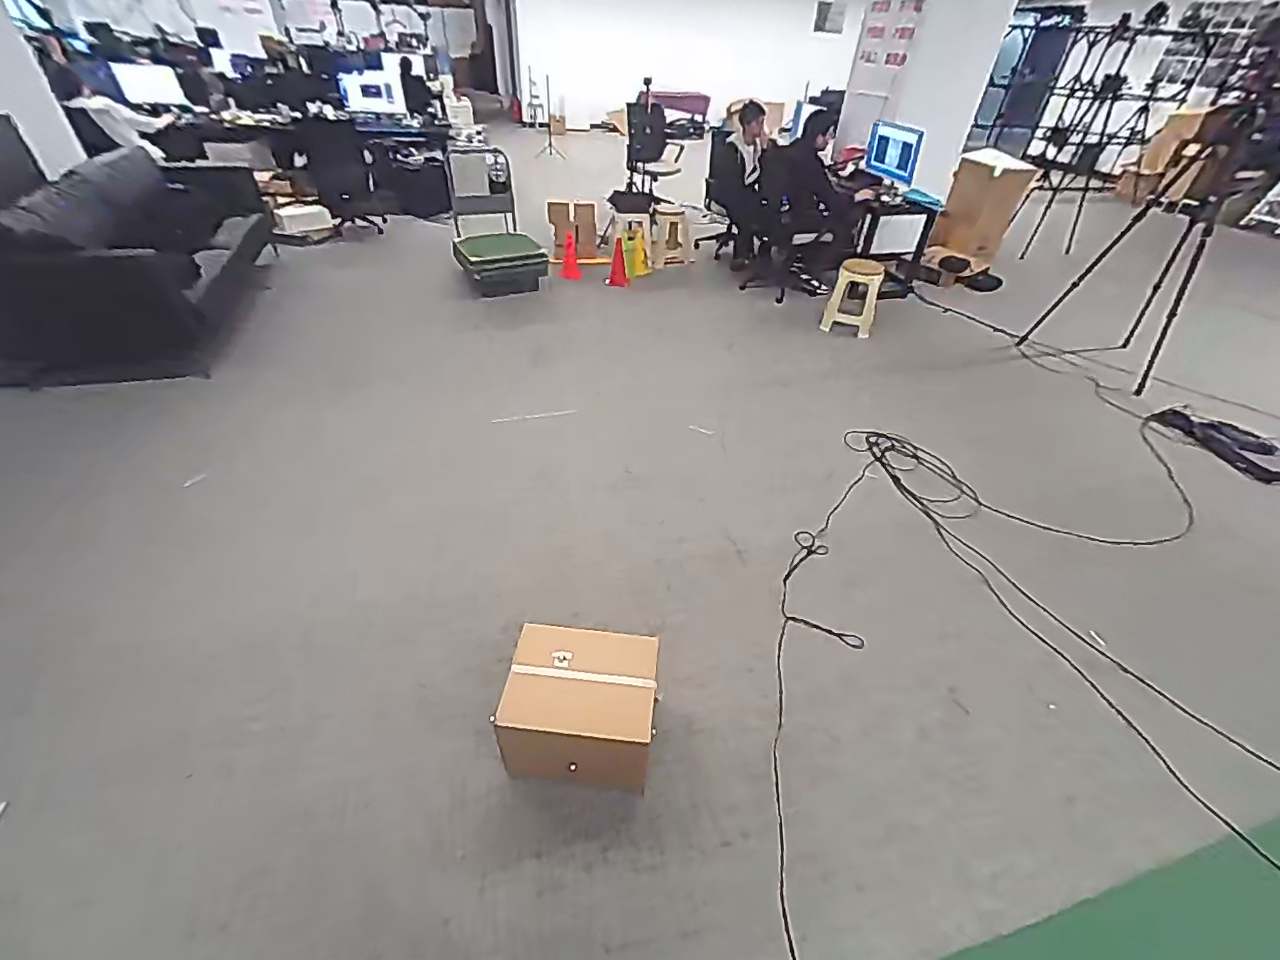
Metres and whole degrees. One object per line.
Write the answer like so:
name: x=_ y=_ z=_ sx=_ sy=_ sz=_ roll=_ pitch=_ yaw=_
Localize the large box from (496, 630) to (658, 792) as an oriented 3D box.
large box: x=-0.159 y=0.668 z=1.568 sx=0.408 sy=0.320 sz=0.320 roll=5 pitch=38 yaw=3
